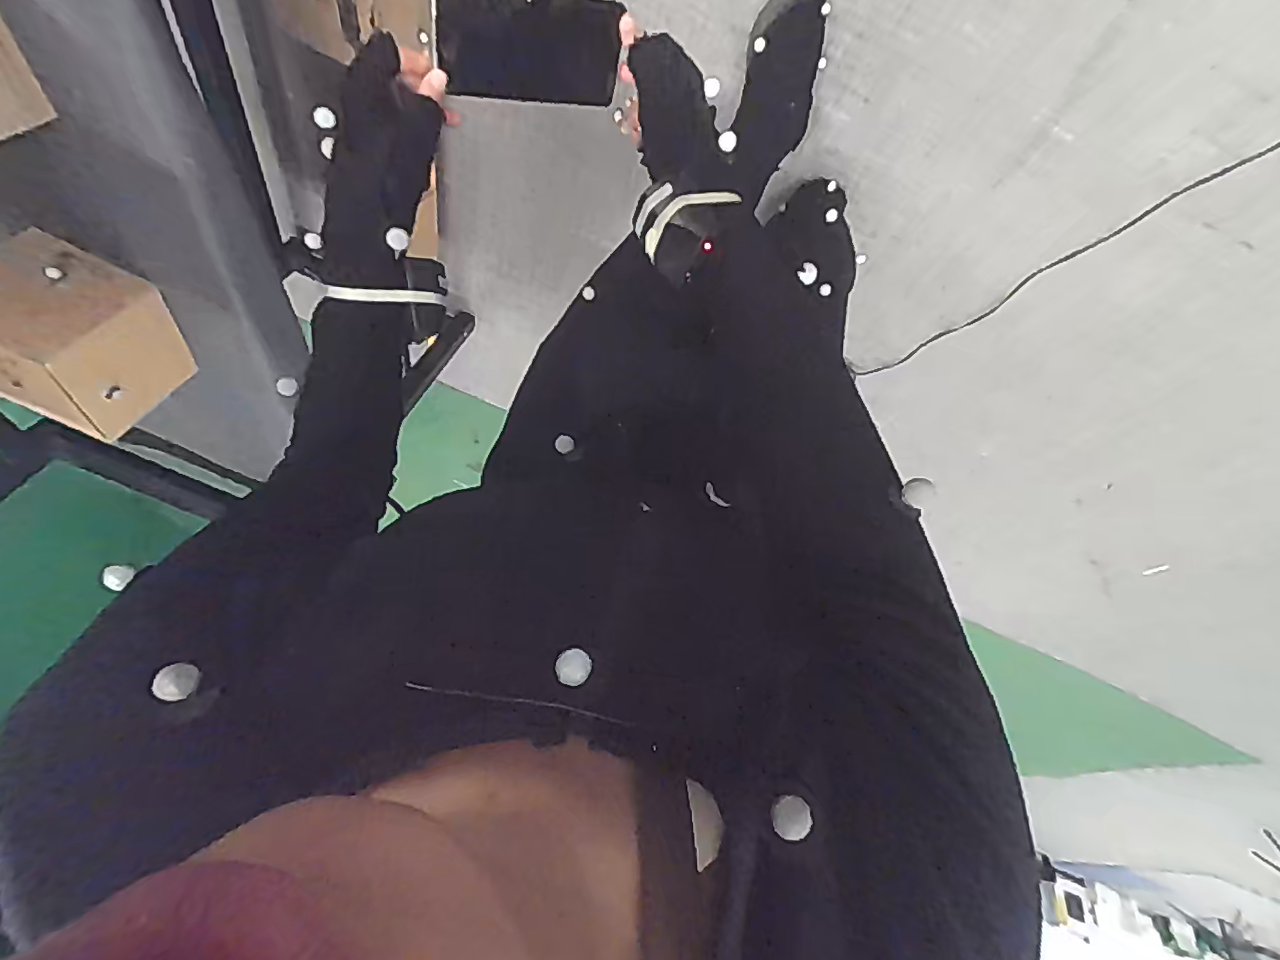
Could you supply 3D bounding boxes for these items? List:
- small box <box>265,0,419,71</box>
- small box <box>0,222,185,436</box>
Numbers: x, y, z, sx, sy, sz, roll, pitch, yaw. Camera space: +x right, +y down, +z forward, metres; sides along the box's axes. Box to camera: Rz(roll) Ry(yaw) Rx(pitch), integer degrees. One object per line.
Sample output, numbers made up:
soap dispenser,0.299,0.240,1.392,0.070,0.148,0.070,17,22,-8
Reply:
small box,-0.462,-0.800,0.847,0.179,0.176,0.168,25,144,-7
small box,-0.766,-0.197,0.720,0.168,0.176,0.179,25,144,-7
